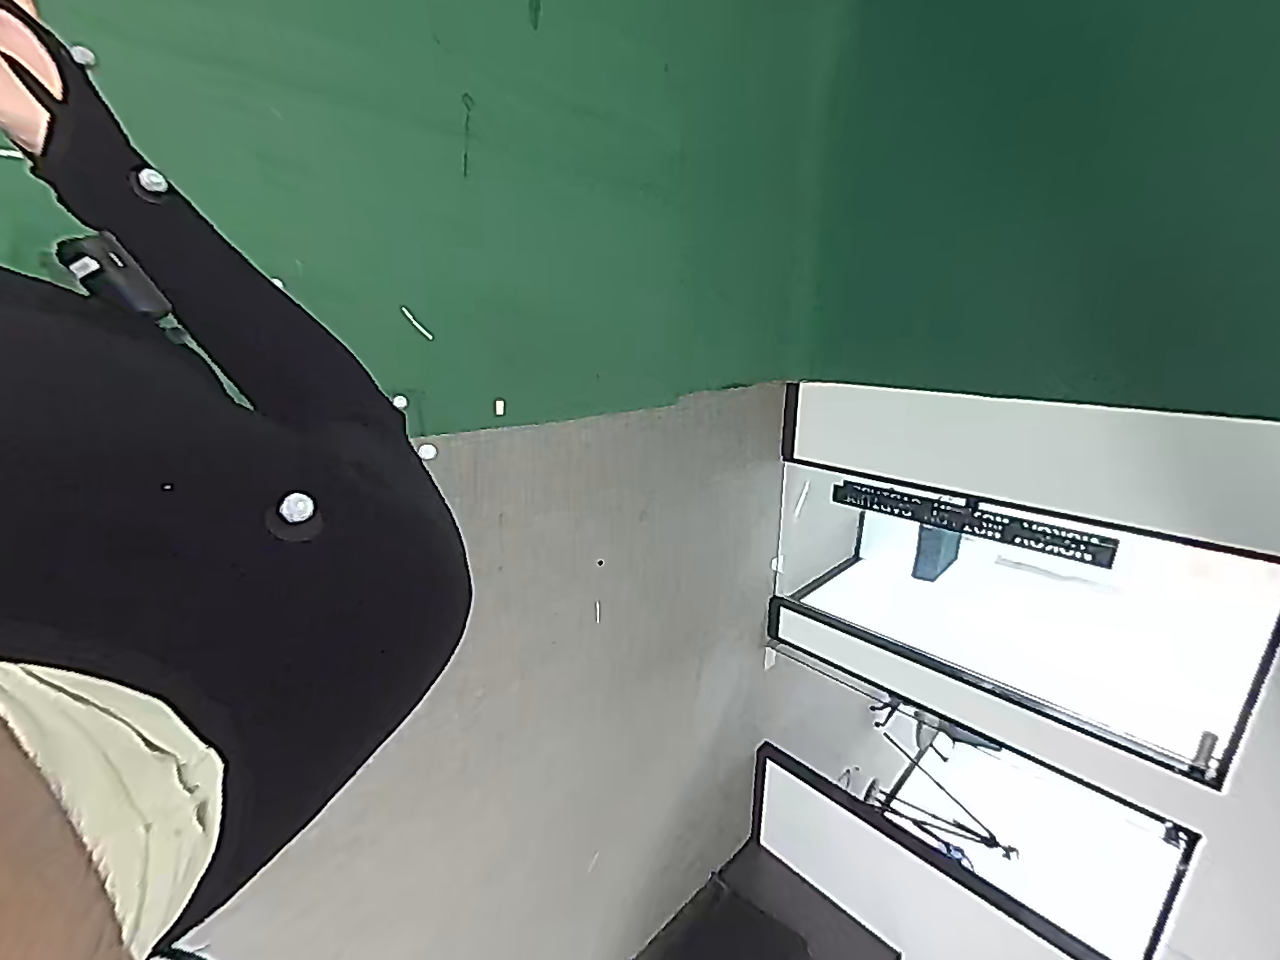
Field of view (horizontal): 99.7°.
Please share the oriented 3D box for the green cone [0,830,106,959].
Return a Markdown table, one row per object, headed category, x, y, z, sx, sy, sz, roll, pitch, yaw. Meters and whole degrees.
| category | x | y | z | sx | sy | sz | roll | pitch | yaw |
| --- | --- | --- | --- | --- | --- | --- | --- | --- | --- |
| green cone | -1.307 | 0.991 | 1.162 | 0.202 | 0.368 | 0.200 | -15 | 112 | -41 |
